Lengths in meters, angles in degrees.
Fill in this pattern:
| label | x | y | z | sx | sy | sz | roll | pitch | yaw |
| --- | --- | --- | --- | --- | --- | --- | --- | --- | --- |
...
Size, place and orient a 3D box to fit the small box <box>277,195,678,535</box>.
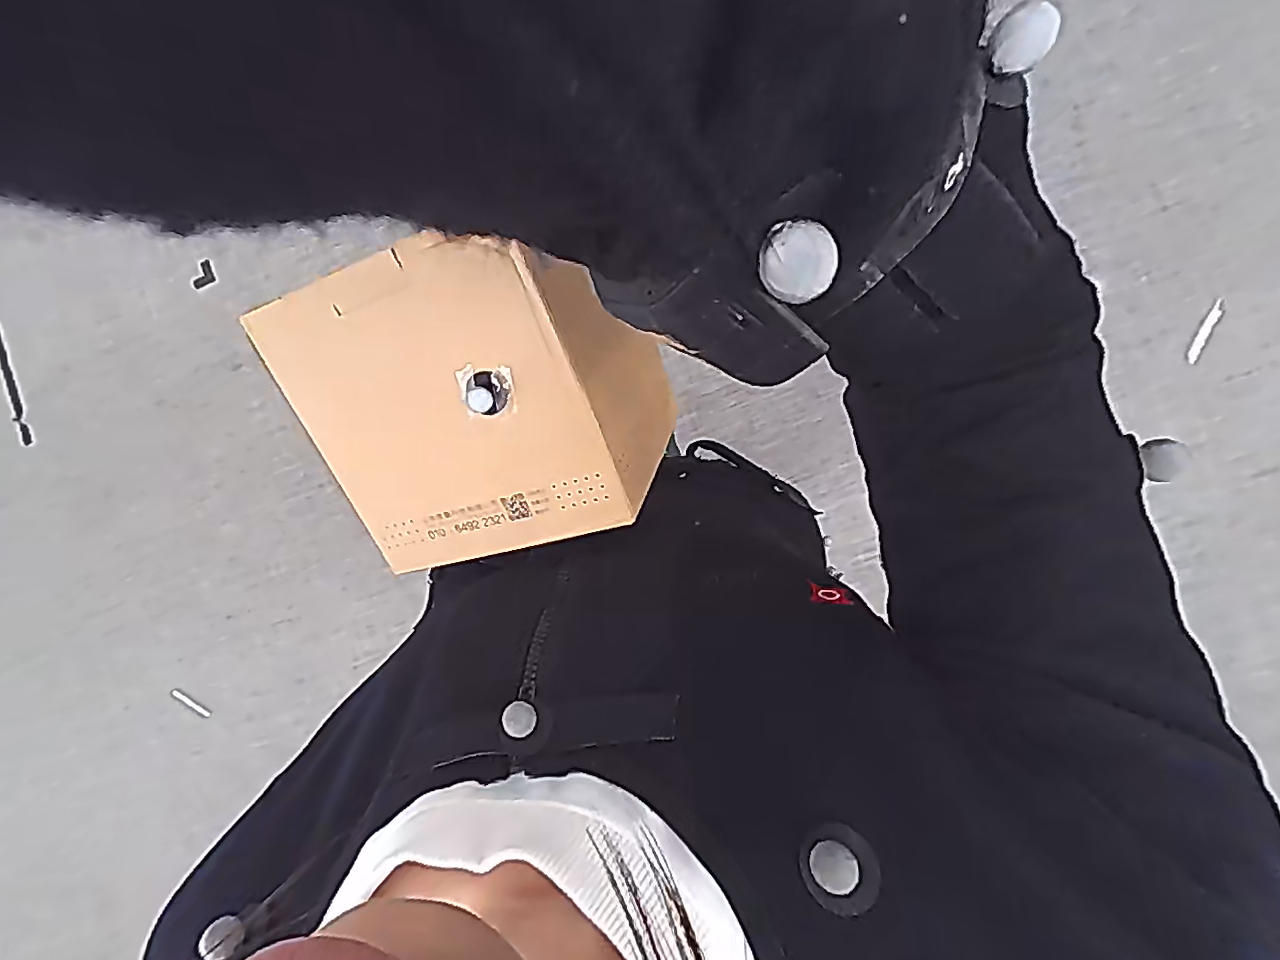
| label | x | y | z | sx | sy | sz | roll | pitch | yaw |
| --- | --- | --- | --- | --- | --- | --- | --- | --- | --- |
| small box | -0.083 | -0.074 | 0.372 | 0.168 | 0.179 | 0.176 | -13 | 112 | 20 |
